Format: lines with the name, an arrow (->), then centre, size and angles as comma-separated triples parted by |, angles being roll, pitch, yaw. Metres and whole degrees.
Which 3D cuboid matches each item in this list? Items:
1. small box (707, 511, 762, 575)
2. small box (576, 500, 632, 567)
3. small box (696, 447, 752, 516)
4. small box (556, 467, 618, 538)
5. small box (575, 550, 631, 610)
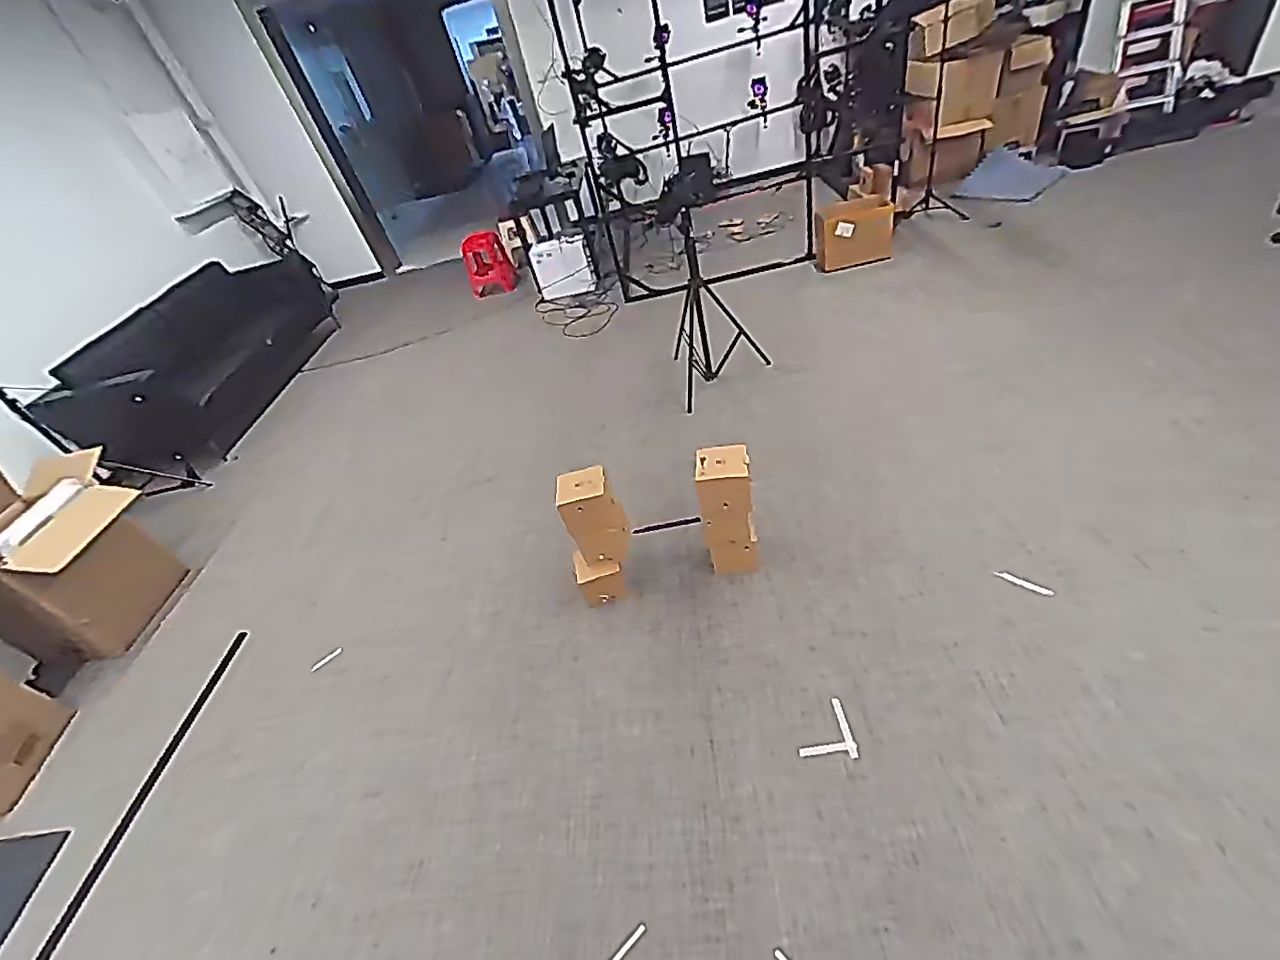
small box -> 0.360, 0.247, 2.065 | 0.179, 0.176, 0.168 | -10, 40, 8
small box -> -0.132, 0.204, 2.037 | 0.168, 0.176, 0.179 | -9, 40, 12
small box -> 0.293, 0.007, 1.851 | 0.179, 0.176, 0.168 | -4, 40, 13
small box -> -0.187, 0.085, 1.936 | 0.179, 0.176, 0.168 | -14, 39, 6
small box -> -0.144, 0.372, 2.103 | 0.168, 0.176, 0.179 | -18, 40, 0
